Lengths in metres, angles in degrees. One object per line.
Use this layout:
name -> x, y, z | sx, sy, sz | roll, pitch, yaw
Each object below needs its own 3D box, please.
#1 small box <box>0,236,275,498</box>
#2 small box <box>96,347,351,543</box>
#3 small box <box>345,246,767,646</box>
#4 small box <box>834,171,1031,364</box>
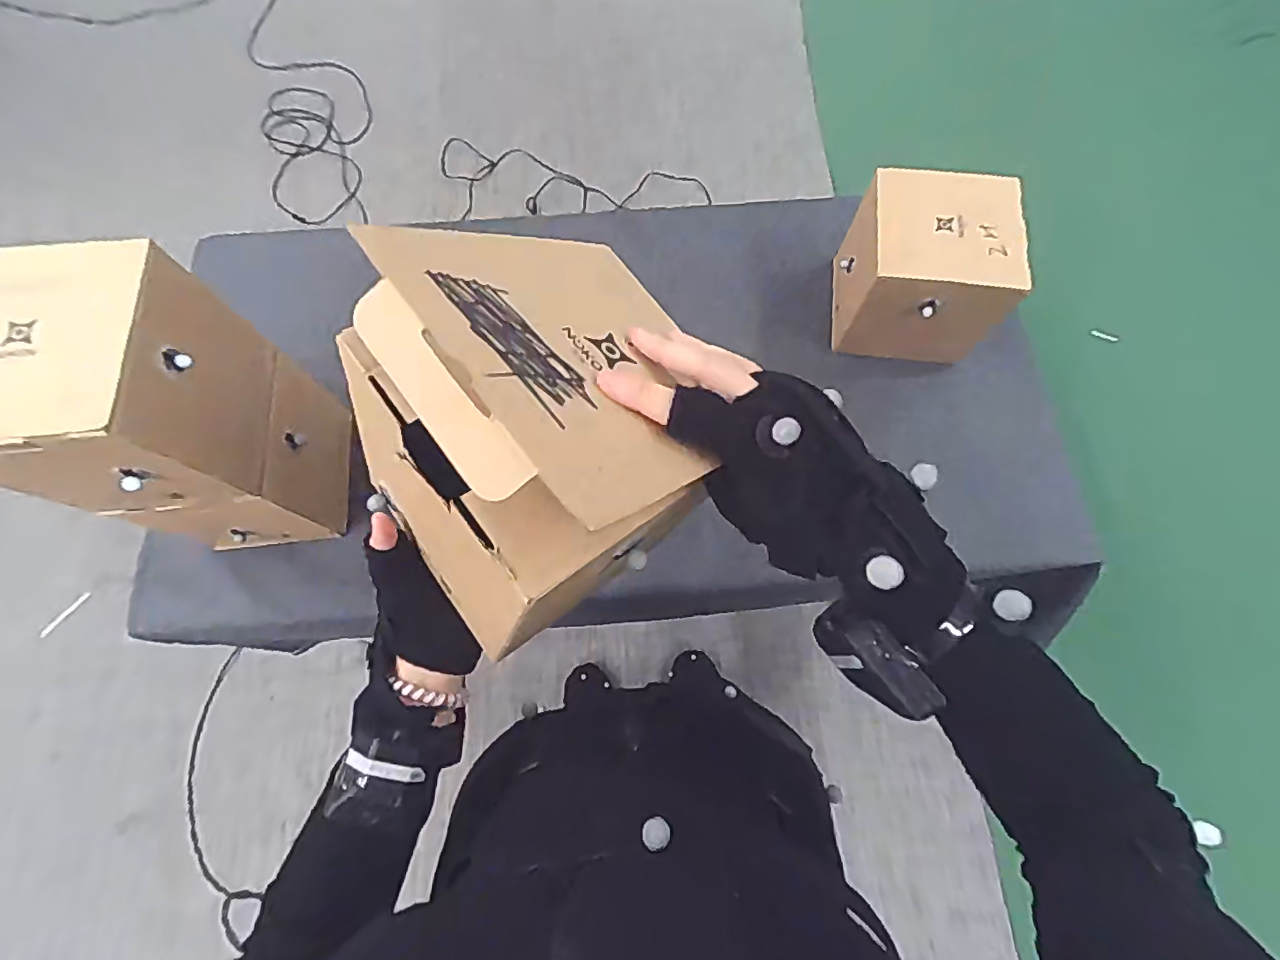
small box -> -0.467, -0.087, 0.487 | 0.168, 0.176, 0.179 | -4, 71, -2
small box -> -0.467, -0.034, 0.641 | 0.168, 0.176, 0.179 | -6, 72, -2
small box -> -0.059, -0.015, 0.358 | 0.179, 0.176, 0.168 | -31, 78, -31
small box -> 0.369, -0.271, 0.716 | 0.179, 0.176, 0.168 | 8, 73, 3
